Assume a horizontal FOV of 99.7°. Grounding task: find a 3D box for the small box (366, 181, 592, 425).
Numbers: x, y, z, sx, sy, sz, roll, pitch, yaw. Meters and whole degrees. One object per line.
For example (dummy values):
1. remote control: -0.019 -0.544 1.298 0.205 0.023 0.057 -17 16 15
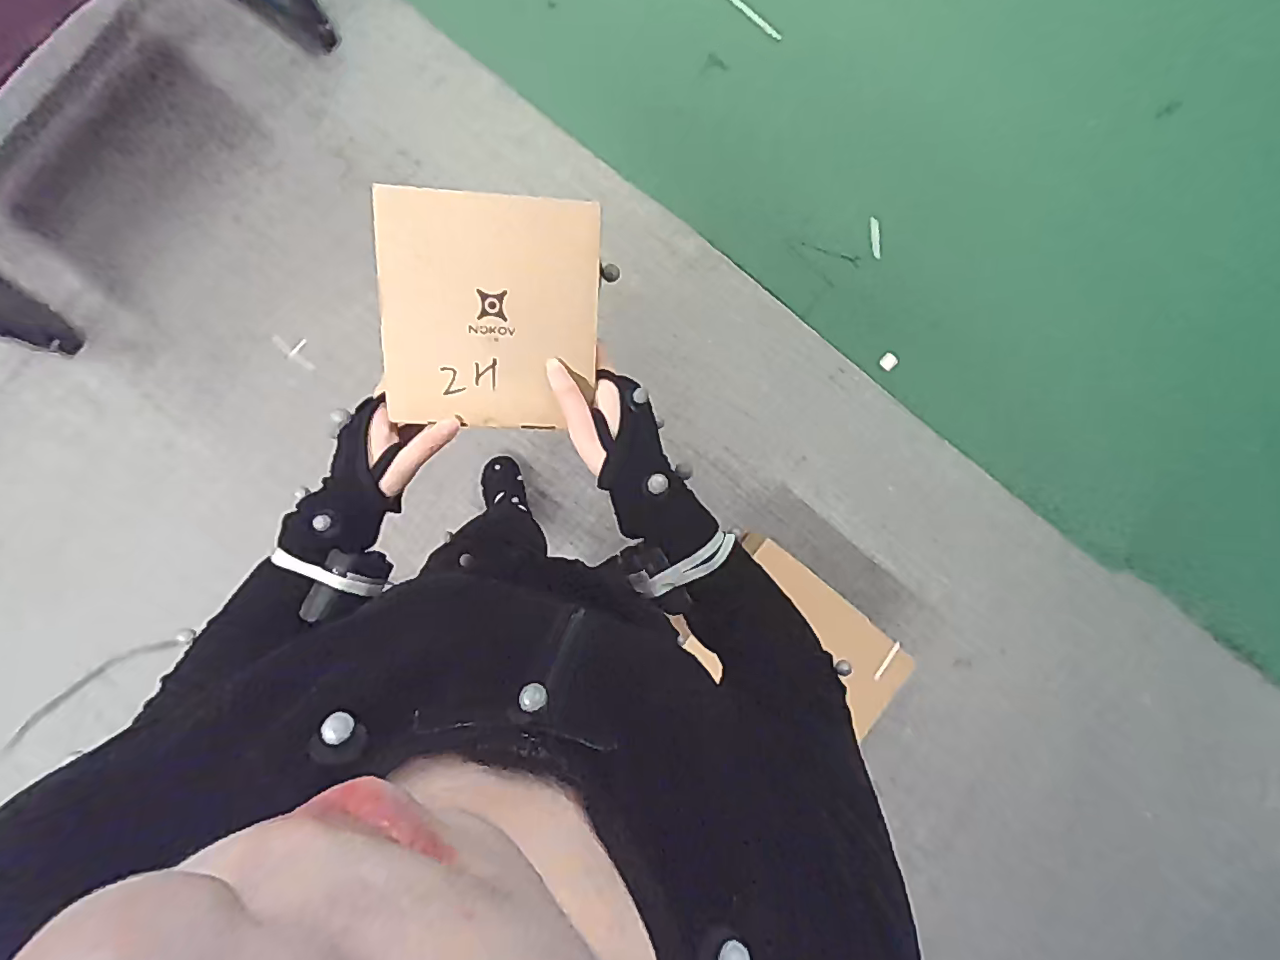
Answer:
1. small box: -0.129 -0.152 0.496 0.168 0.176 0.179 1 106 -5
